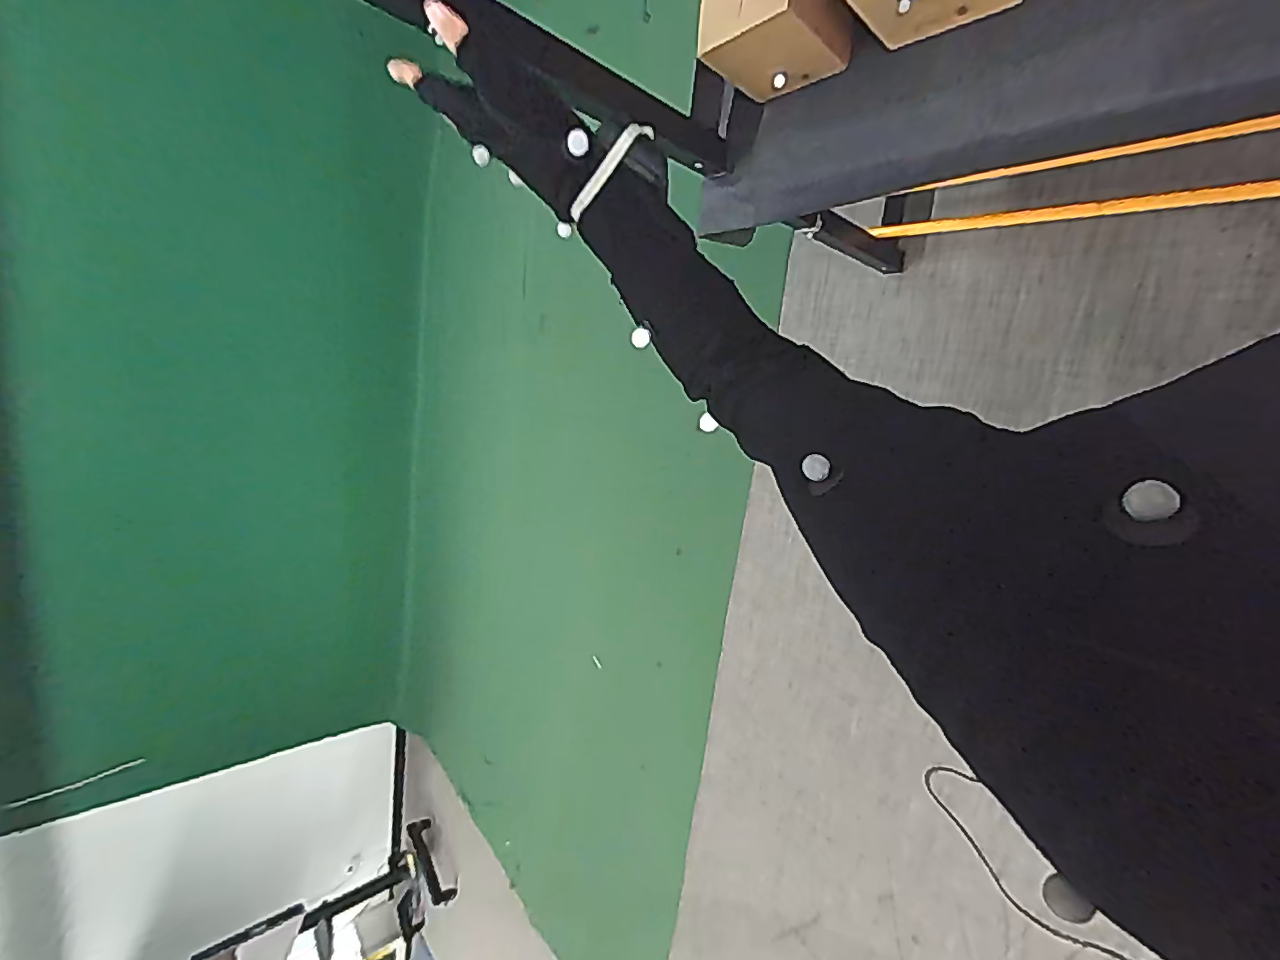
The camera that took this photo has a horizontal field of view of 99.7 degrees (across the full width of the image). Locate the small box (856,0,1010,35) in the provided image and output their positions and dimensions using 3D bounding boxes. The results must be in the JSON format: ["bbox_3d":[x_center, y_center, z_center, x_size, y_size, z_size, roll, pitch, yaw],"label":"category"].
[{"bbox_3d":[0.362,-0.679,0.643,0.168,0.176,0.179,18,104,46],"label":"small box"}]

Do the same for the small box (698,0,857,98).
[{"bbox_3d":[0.211,-0.722,0.806,0.168,0.176,0.179,15,103,47],"label":"small box"}]
